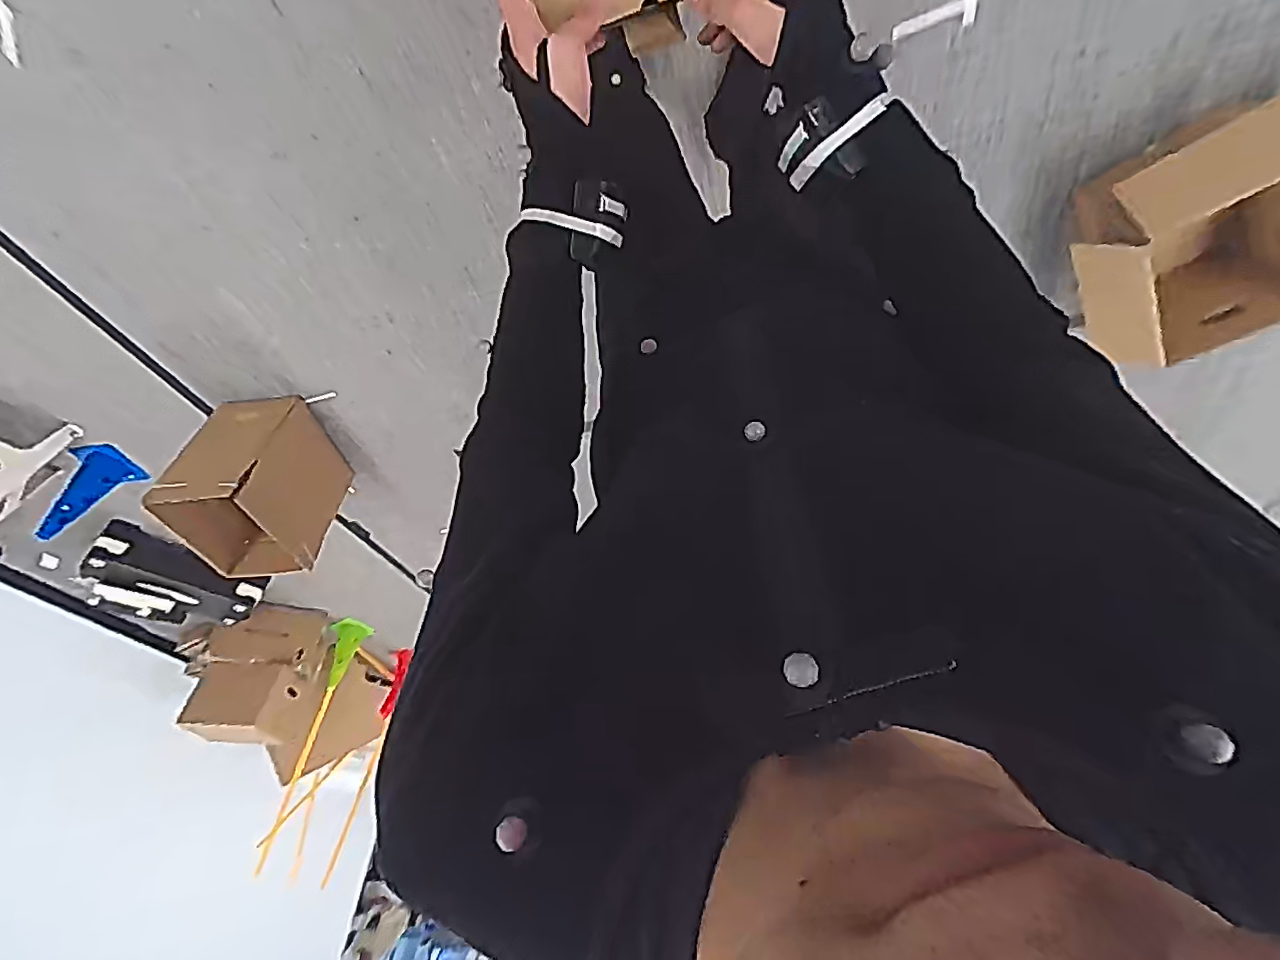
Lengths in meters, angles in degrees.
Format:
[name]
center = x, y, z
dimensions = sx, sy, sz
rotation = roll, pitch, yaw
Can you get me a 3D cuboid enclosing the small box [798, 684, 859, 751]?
[small box]
center = 0.633, 0.799, 1.830
dimensions = 0.168, 0.176, 0.179
rotation = -9, 138, 11
